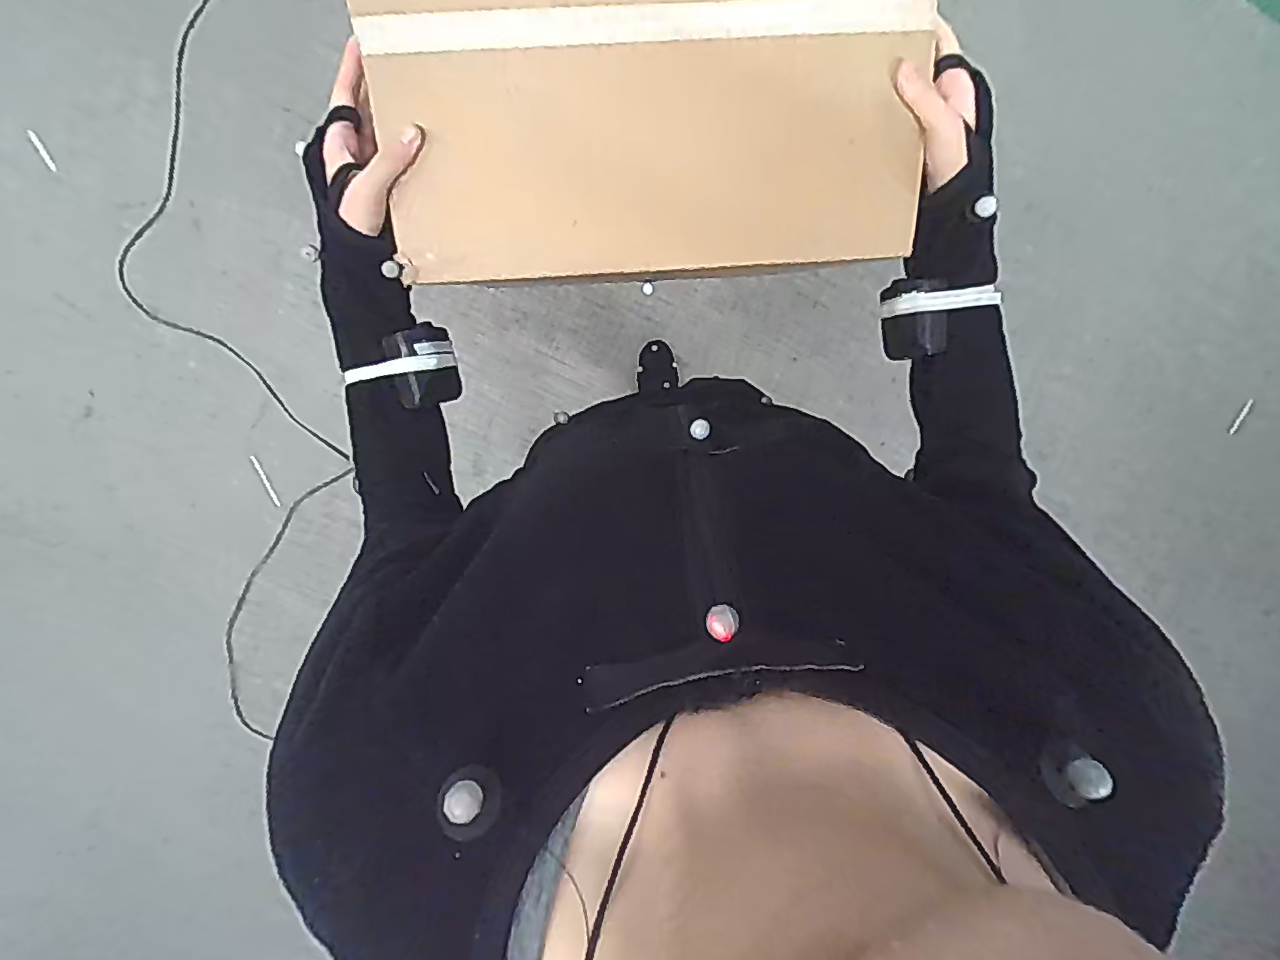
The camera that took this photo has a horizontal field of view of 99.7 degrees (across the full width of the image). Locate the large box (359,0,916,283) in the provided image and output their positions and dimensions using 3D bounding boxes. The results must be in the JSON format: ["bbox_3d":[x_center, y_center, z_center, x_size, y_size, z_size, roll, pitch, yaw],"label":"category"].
[{"bbox_3d":[-0.002,-0.373,0.531,0.408,0.320,0.320,-4,110,-1],"label":"large box"}]
